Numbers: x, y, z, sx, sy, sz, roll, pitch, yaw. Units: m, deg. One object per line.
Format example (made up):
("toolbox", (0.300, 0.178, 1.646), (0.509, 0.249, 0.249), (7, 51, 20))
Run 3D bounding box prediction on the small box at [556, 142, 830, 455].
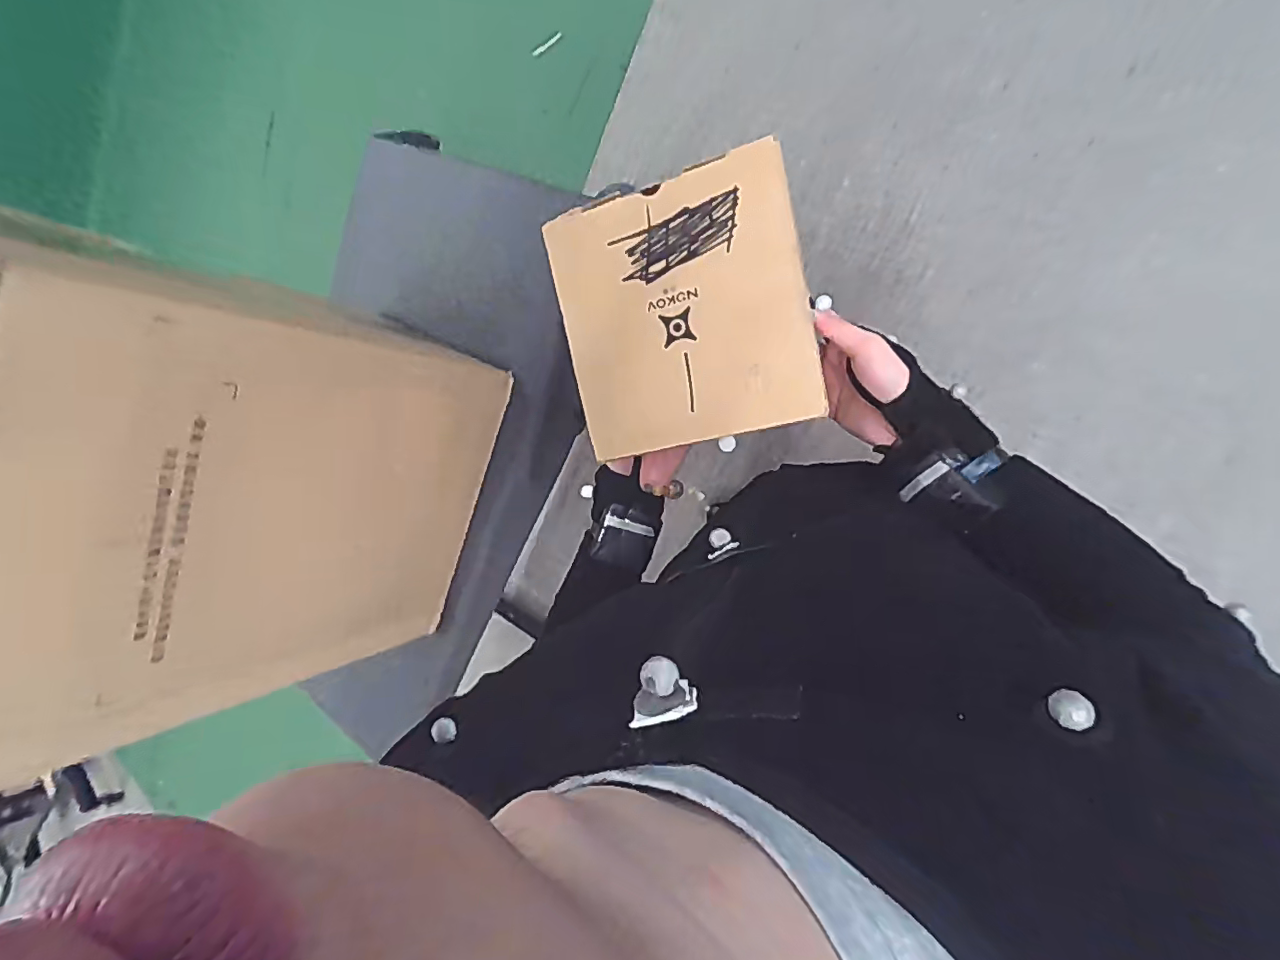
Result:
("small box", (0.056, -0.125, 0.441), (0.168, 0.176, 0.179), (-9, 97, 21))
